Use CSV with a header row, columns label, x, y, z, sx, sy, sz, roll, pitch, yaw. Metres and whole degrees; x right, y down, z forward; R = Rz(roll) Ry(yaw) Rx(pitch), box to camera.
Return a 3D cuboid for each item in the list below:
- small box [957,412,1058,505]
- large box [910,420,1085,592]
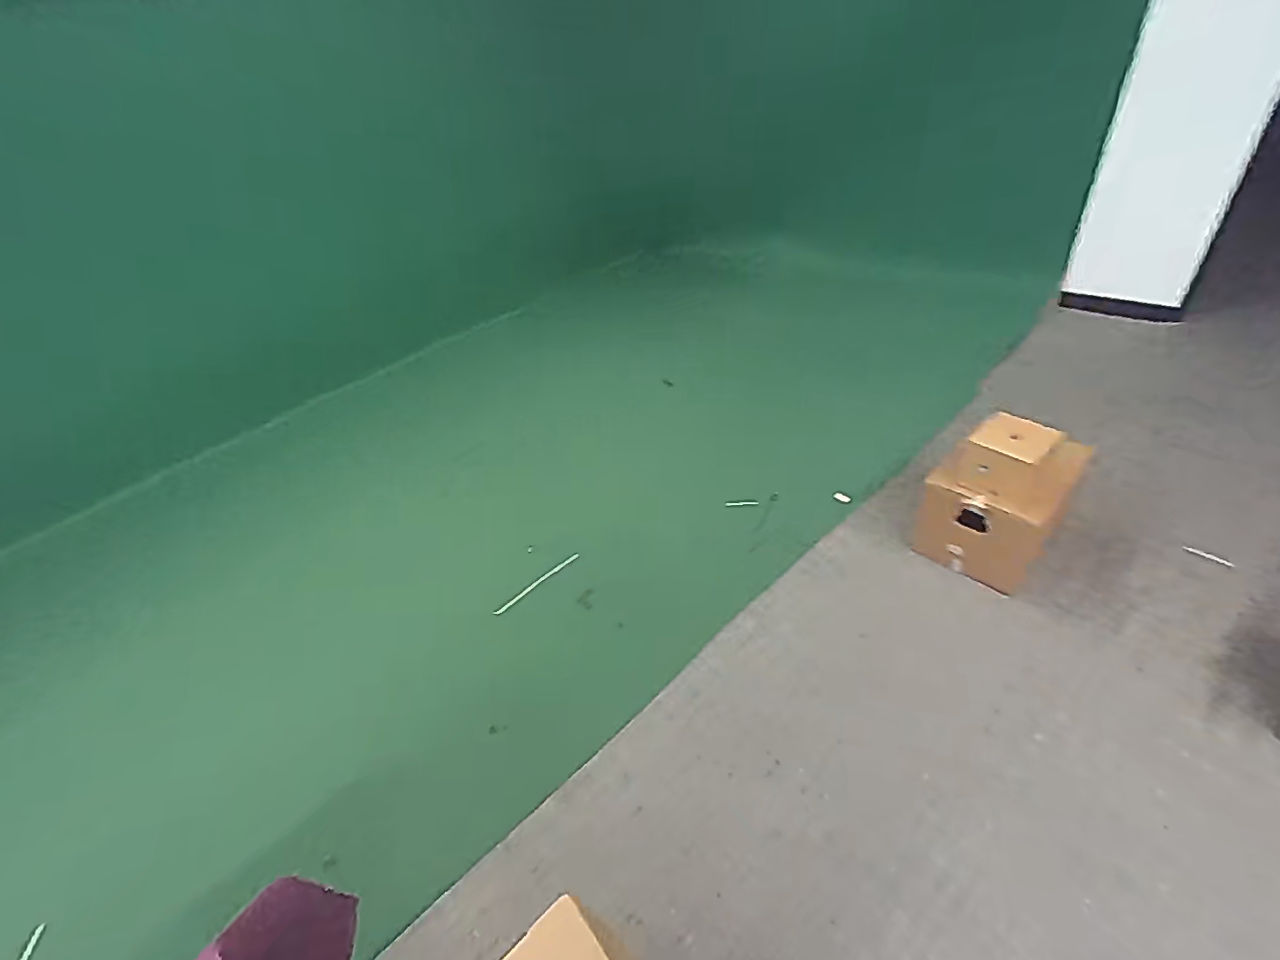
label,x,y,z,sx,sy,sz,roll,pitch,yaw
small box,1.023,-0.060,1.521,0.179,0.176,0.168,-33,44,-23
large box,1.121,0.072,1.723,0.408,0.320,0.320,-36,44,-26
